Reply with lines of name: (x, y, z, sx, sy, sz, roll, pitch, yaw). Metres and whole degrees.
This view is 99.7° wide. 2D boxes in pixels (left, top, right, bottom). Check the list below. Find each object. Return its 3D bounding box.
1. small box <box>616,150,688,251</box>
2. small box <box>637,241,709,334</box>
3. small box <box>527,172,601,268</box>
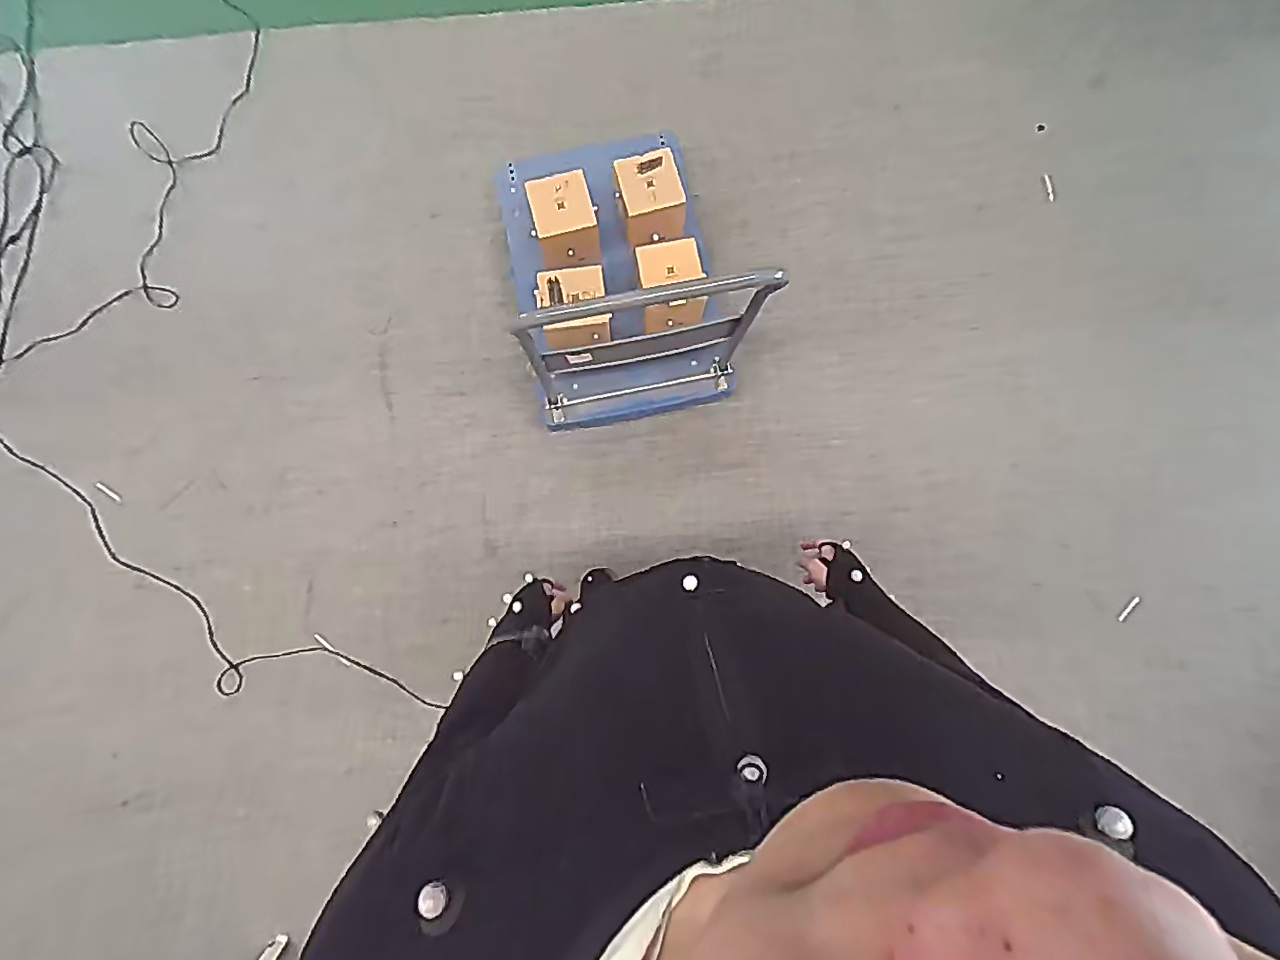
small box: (0.032, -0.797, 1.555, 0.168, 0.176, 0.179, -15, 83, -2)
small box: (0.086, -0.535, 1.517, 0.168, 0.176, 0.179, -10, 82, -2)
small box: (-0.212, -0.731, 1.544, 0.168, 0.176, 0.179, -14, 82, -3)
